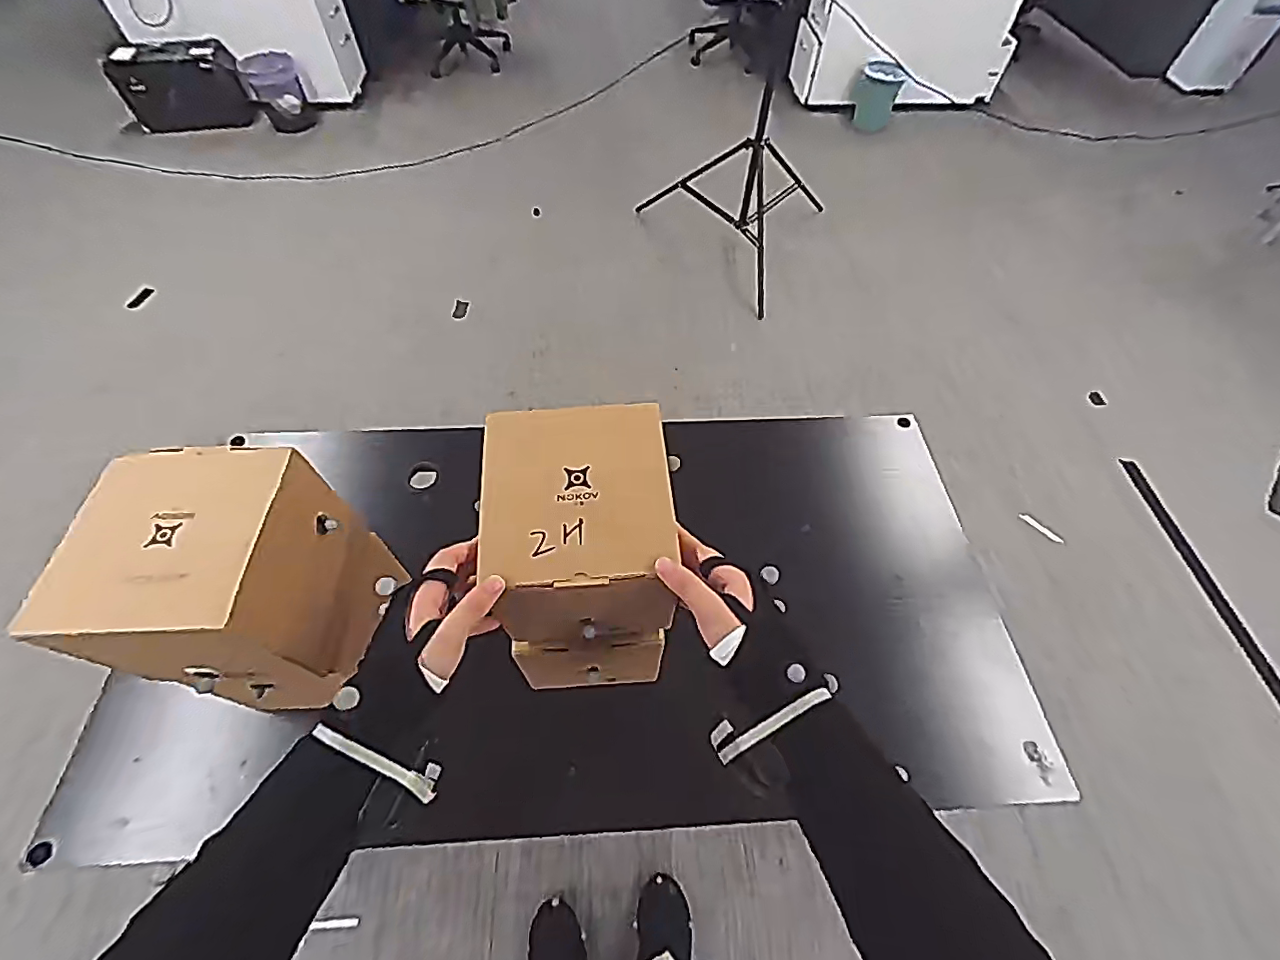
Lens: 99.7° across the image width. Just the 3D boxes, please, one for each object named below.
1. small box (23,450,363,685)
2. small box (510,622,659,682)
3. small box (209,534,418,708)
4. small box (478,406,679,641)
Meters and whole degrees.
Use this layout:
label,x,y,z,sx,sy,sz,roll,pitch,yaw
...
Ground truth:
label,x,y,z,sx,sy,sz,roll,pitch,yaw
small box,-0.399,0.089,0.530,0.168,0.176,0.179,-2,57,-2
small box,-0.064,0.153,0.694,0.168,0.176,0.179,-3,57,-3
small box,-0.400,0.178,0.666,0.179,0.176,0.168,0,56,-3
small box,-0.057,0.048,0.548,0.168,0.176,0.179,-4,59,-3
